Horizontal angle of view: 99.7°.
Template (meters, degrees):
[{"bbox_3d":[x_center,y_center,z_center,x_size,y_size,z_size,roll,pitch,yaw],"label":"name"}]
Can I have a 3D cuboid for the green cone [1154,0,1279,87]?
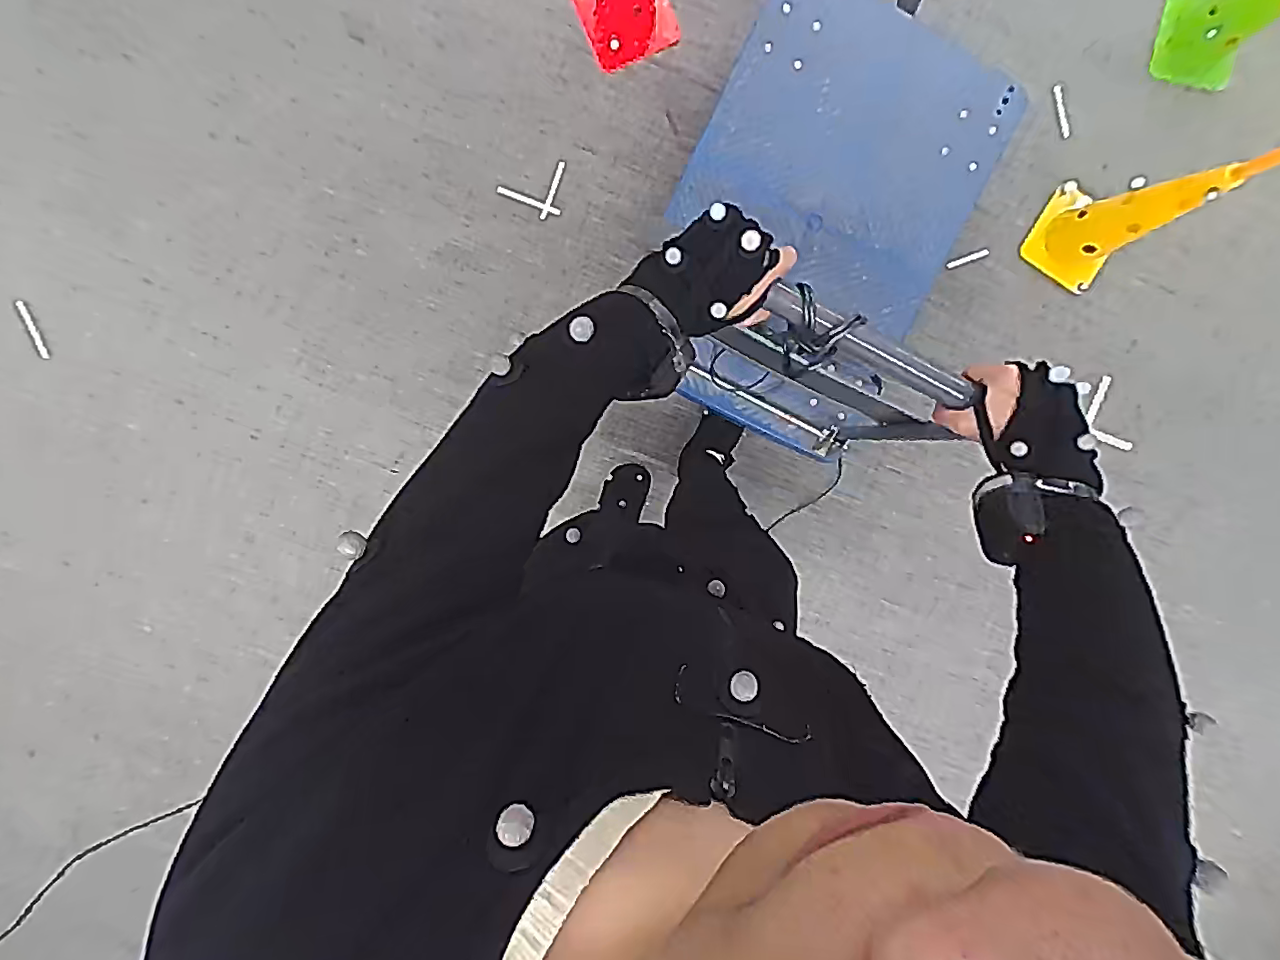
[{"bbox_3d":[1.321,-1.016,1.094,0.200,0.368,0.202,8,98,-3],"label":"green cone"}]

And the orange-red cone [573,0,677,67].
[{"bbox_3d":[-0.026,-1.028,1.036,0.199,0.360,0.198,-23,98,-1],"label":"orange-red cone"}]
